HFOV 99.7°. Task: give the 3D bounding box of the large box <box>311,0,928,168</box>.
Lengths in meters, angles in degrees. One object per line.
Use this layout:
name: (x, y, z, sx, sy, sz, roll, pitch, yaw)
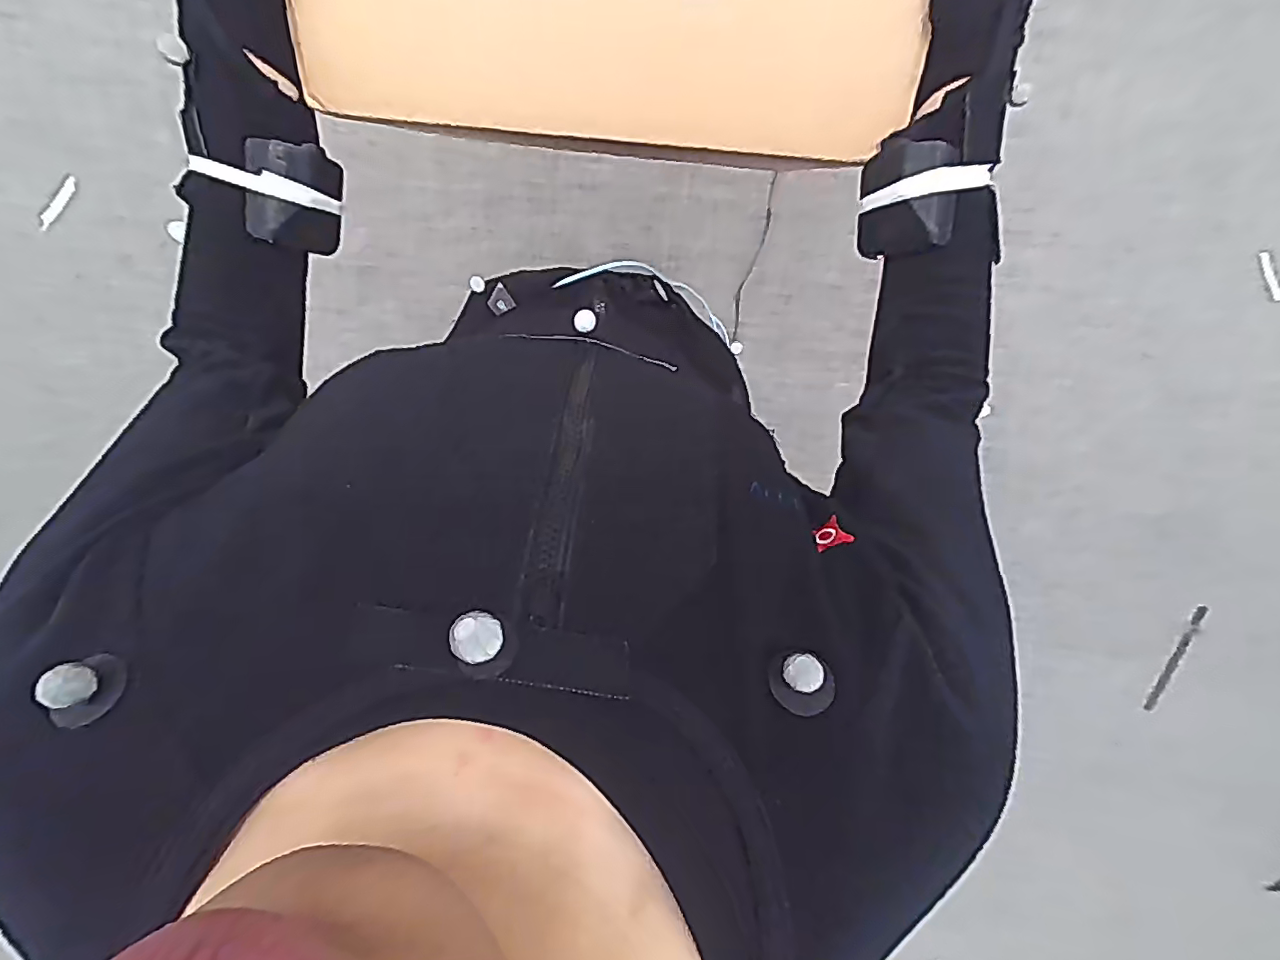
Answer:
large box: (-0.008, -0.447, 0.439, 0.408, 0.320, 0.320, 4, 120, -2)
